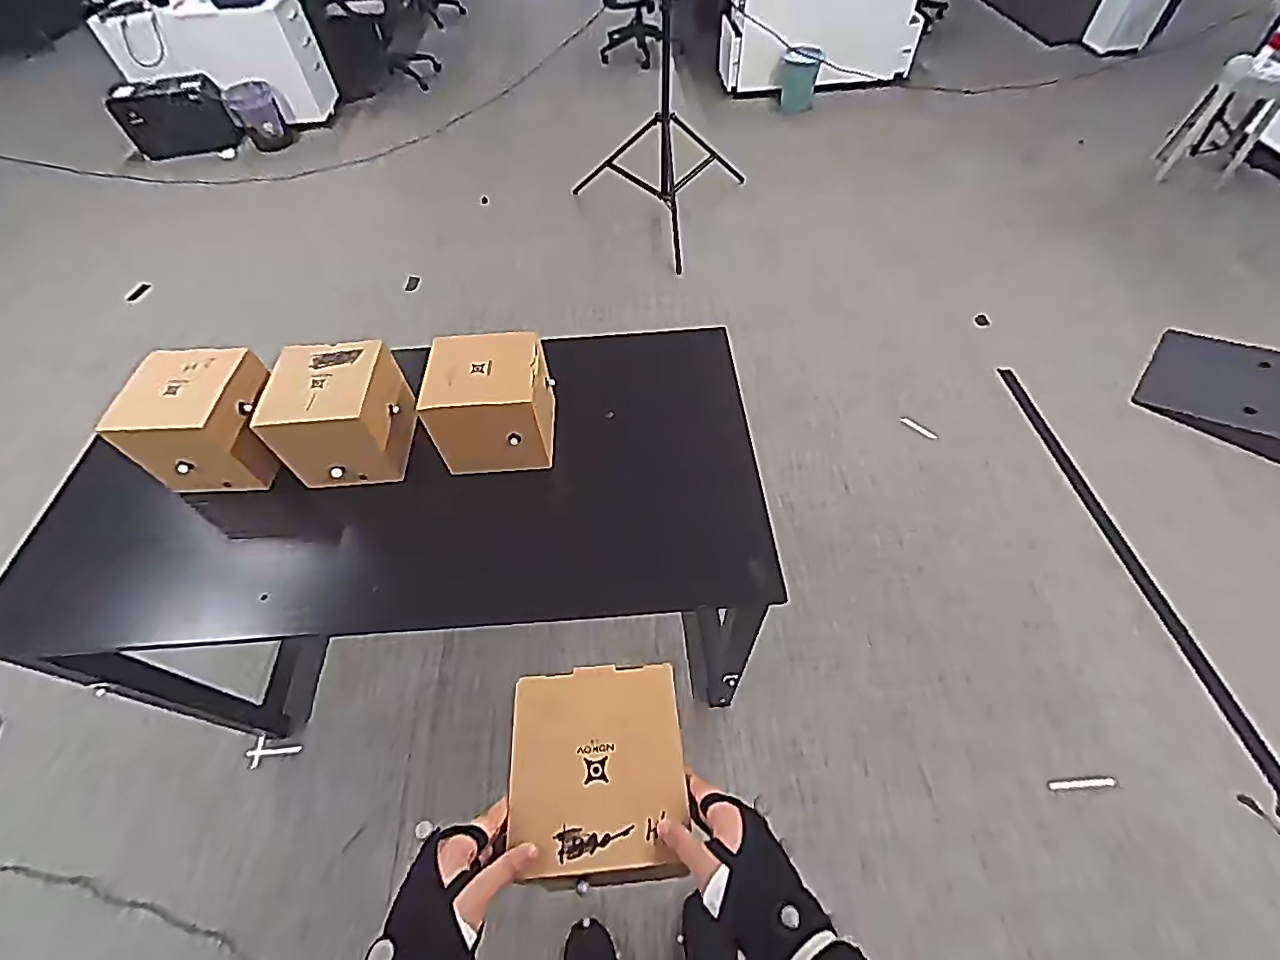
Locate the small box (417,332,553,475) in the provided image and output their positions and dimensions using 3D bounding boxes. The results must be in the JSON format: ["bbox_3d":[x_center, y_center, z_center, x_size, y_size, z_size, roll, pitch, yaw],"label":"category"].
[{"bbox_3d":[-0.246,-0.125,0.913,0.179,0.176,0.168,-5,53,1],"label":"small box"}]

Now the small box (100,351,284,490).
[{"bbox_3d":[-0.718,-0.094,0.911,0.168,0.176,0.179,-2,55,0],"label":"small box"}]

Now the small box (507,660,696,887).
[{"bbox_3d":[-0.036,0.315,0.578,0.168,0.176,0.179,-6,51,-1],"label":"small box"}]

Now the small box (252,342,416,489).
[{"bbox_3d":[-0.494,-0.106,0.908,0.168,0.176,0.179,-5,56,-1],"label":"small box"}]
